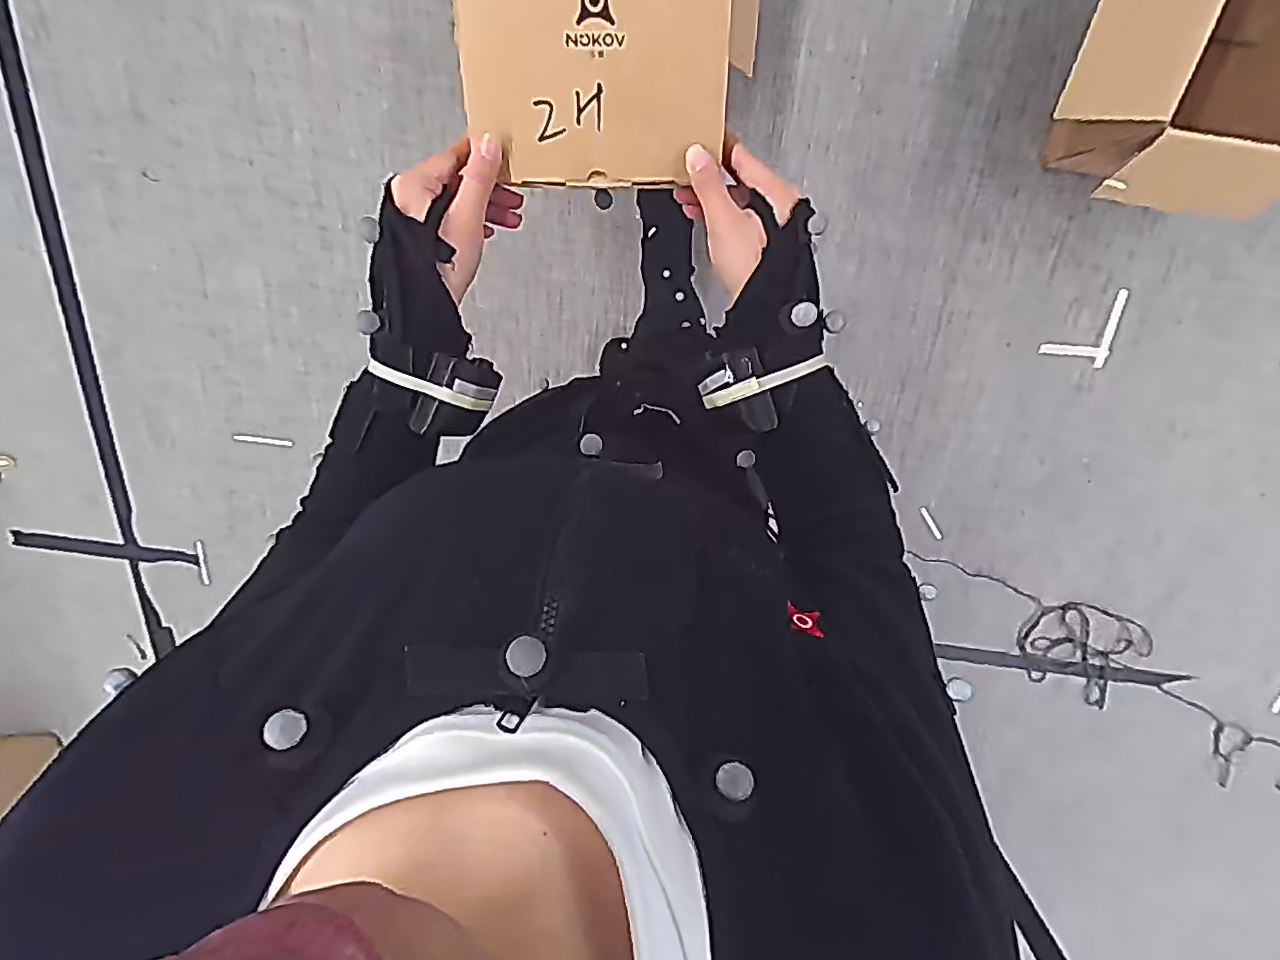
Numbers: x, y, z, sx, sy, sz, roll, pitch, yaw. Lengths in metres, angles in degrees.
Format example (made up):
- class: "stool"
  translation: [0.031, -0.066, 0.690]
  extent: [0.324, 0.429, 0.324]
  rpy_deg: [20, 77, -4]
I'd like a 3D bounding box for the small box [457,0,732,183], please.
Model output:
- class: "small box"
  translation: [-0.029, -0.319, 0.391]
  extent: [0.168, 0.176, 0.179]
  rpy_deg: [0, 118, -1]
